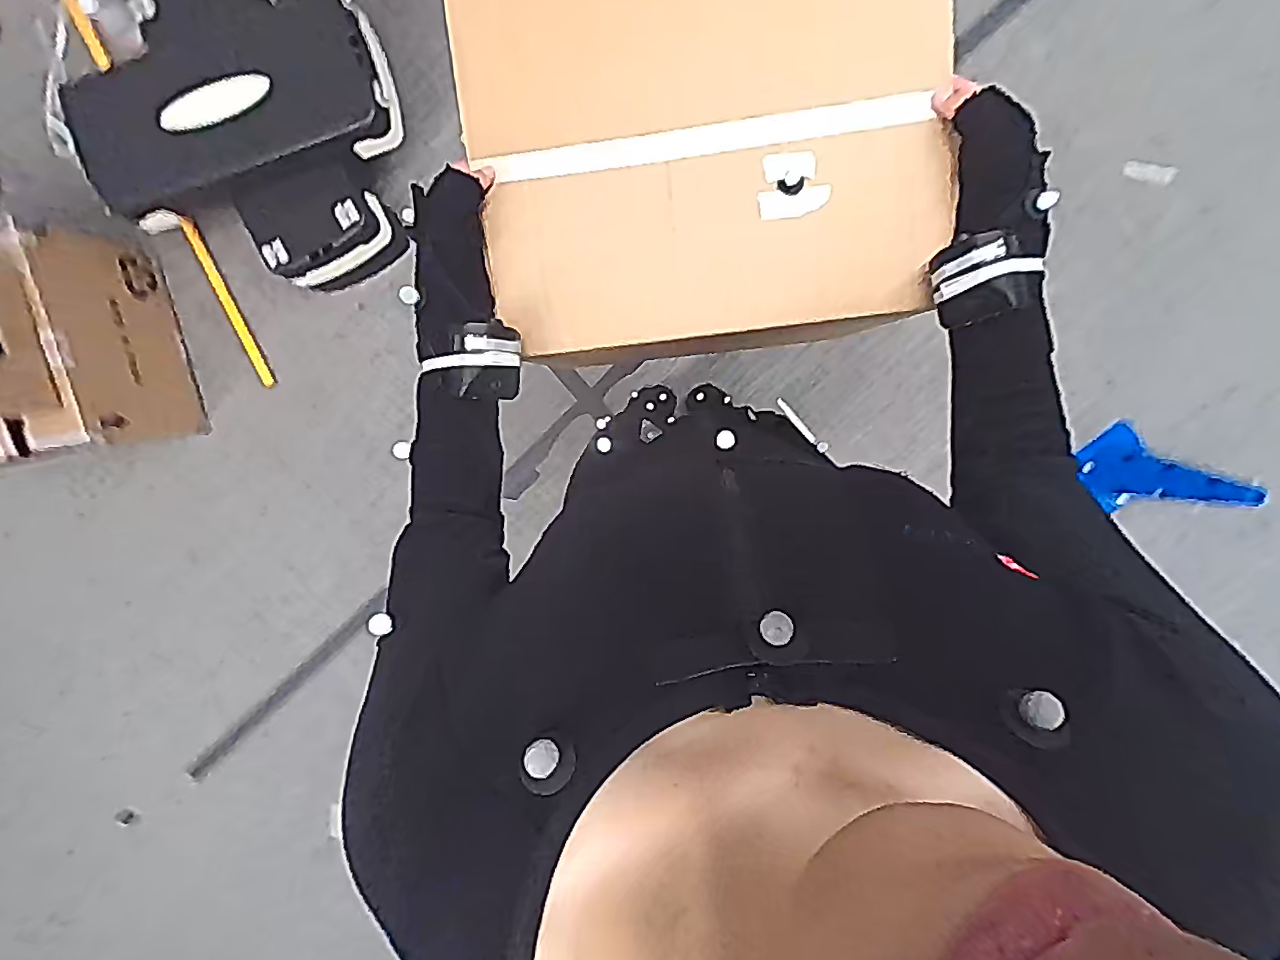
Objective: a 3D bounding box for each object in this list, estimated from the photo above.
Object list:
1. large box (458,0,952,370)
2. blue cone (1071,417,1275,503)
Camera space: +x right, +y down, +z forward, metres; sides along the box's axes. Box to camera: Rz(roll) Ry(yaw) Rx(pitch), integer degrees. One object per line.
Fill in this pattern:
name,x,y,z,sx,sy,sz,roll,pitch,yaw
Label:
large box,0.064,-0.308,0.608,0.408,0.320,0.320,-5,99,3
blue cone,1.253,-0.024,1.269,0.192,0.380,0.193,-39,96,7
